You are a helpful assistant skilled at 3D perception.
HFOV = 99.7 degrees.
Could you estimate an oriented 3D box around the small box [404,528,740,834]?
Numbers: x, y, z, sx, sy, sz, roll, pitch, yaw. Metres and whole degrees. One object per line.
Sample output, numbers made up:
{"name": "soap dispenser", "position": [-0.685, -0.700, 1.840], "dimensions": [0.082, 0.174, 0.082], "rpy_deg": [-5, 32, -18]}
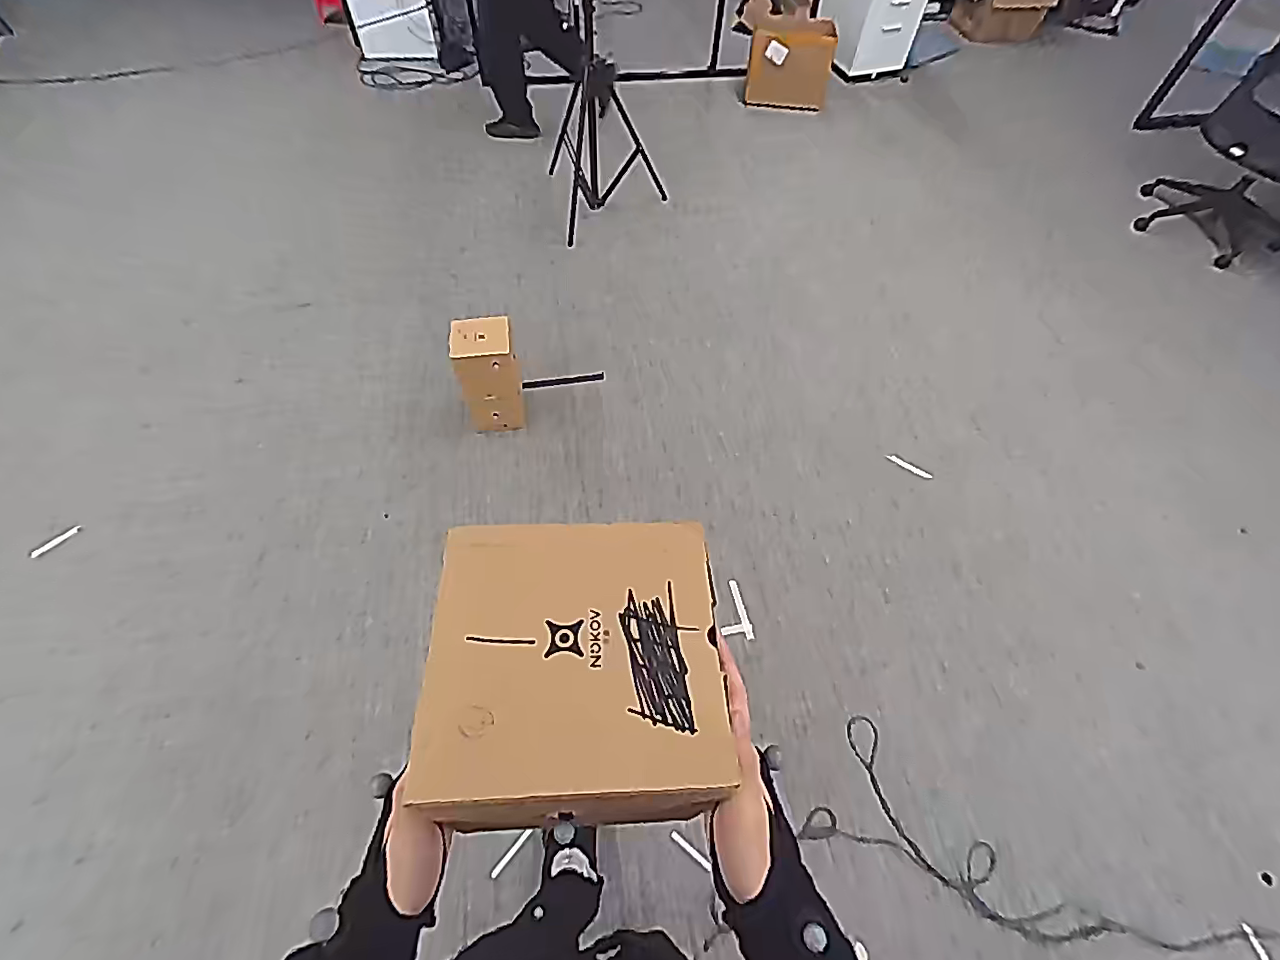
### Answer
{"name": "small box", "position": [-0.043, 0.148, 0.389], "dimensions": [0.179, 0.176, 0.168], "rpy_deg": [0, 52, -5]}

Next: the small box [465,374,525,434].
{"name": "small box", "position": [-0.483, -0.267, 1.814], "dimensions": [0.168, 0.176, 0.179], "rpy_deg": [-6, 58, -6]}

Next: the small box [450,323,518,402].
{"name": "small box", "position": [-0.477, -0.362, 1.677], "dimensions": [0.179, 0.176, 0.168], "rpy_deg": [-7, 56, -6]}
